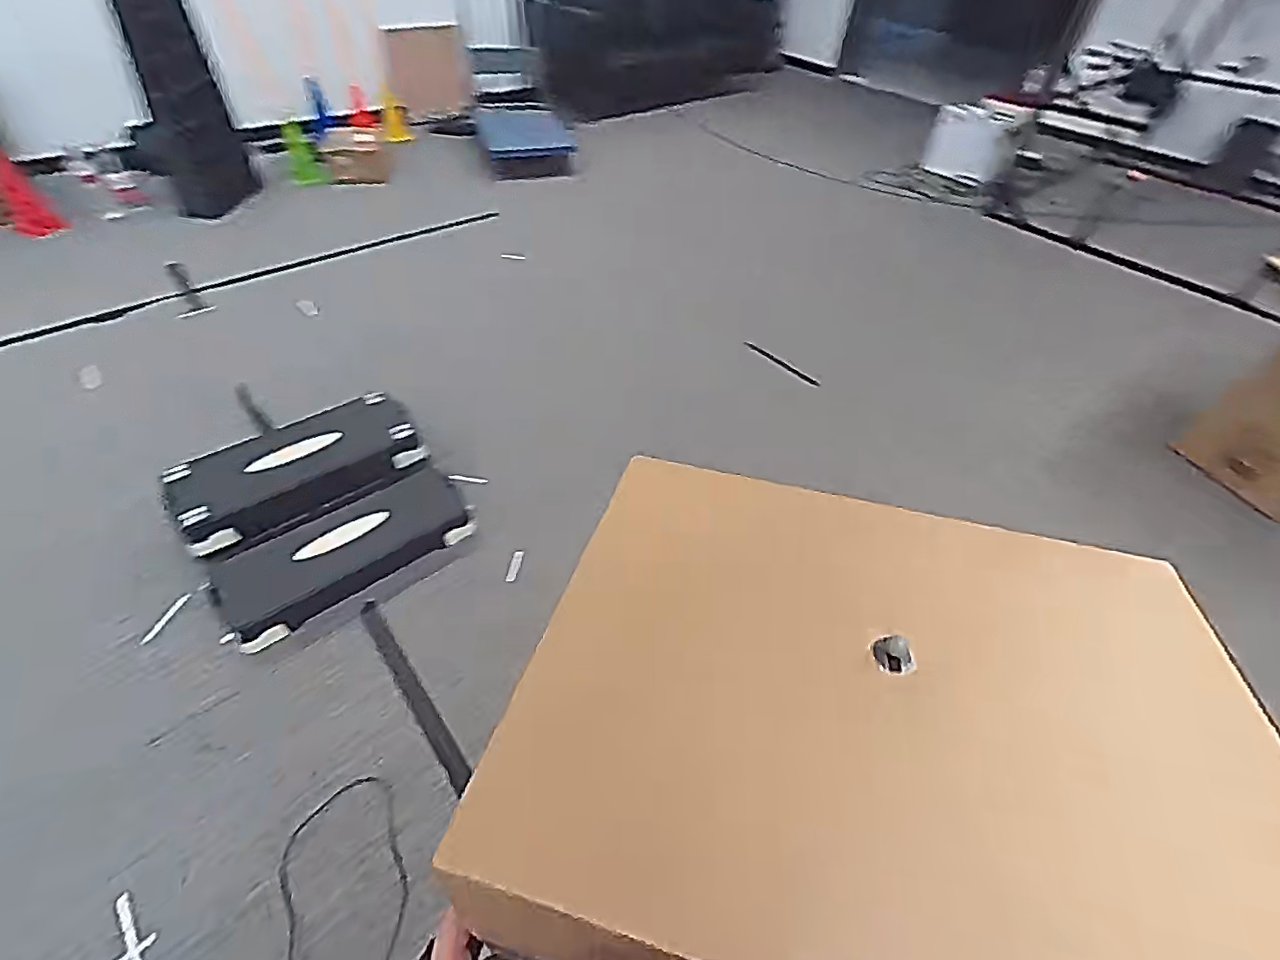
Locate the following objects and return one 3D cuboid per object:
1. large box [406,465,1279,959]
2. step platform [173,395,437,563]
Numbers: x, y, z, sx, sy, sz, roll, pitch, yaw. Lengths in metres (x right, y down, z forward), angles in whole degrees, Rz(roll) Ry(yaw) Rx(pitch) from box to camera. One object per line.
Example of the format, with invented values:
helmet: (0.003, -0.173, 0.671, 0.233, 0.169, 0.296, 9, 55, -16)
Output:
large box: (0.120, 0.218, 0.410, 0.408, 0.320, 0.320, 9, 42, 10)
step platform: (-1.012, -0.026, 1.682, 0.684, 0.204, 0.286, -25, 55, -25)
